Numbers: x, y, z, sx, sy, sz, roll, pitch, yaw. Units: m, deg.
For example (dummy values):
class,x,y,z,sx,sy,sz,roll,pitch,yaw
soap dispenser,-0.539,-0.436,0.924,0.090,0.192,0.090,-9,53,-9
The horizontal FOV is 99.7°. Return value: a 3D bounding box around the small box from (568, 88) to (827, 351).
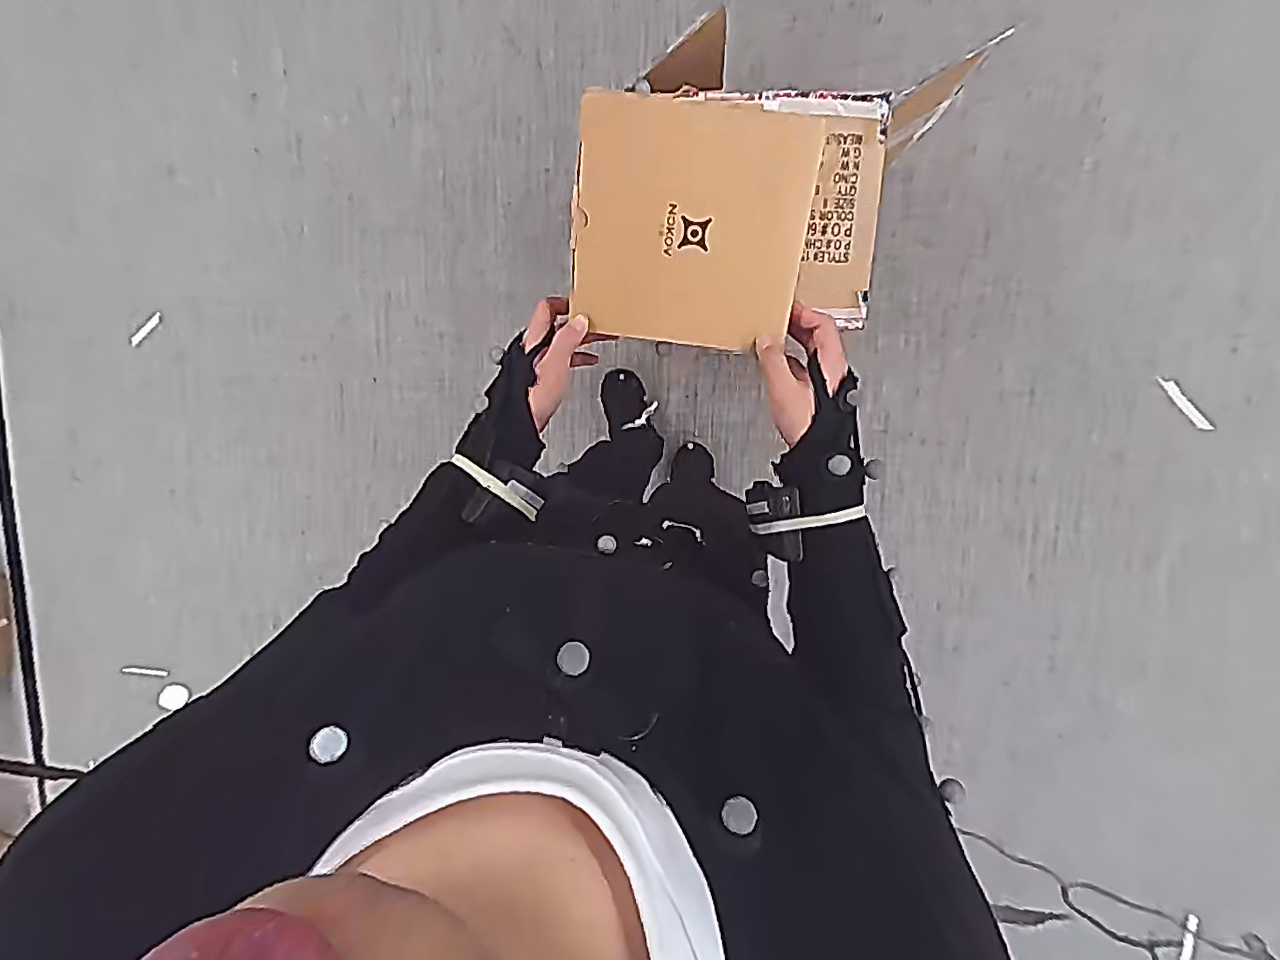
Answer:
class,x,y,z,sx,sy,sz,roll,pitch,yaw
small box,0.042,-0.219,0.481,0.179,0.176,0.168,8,112,2
